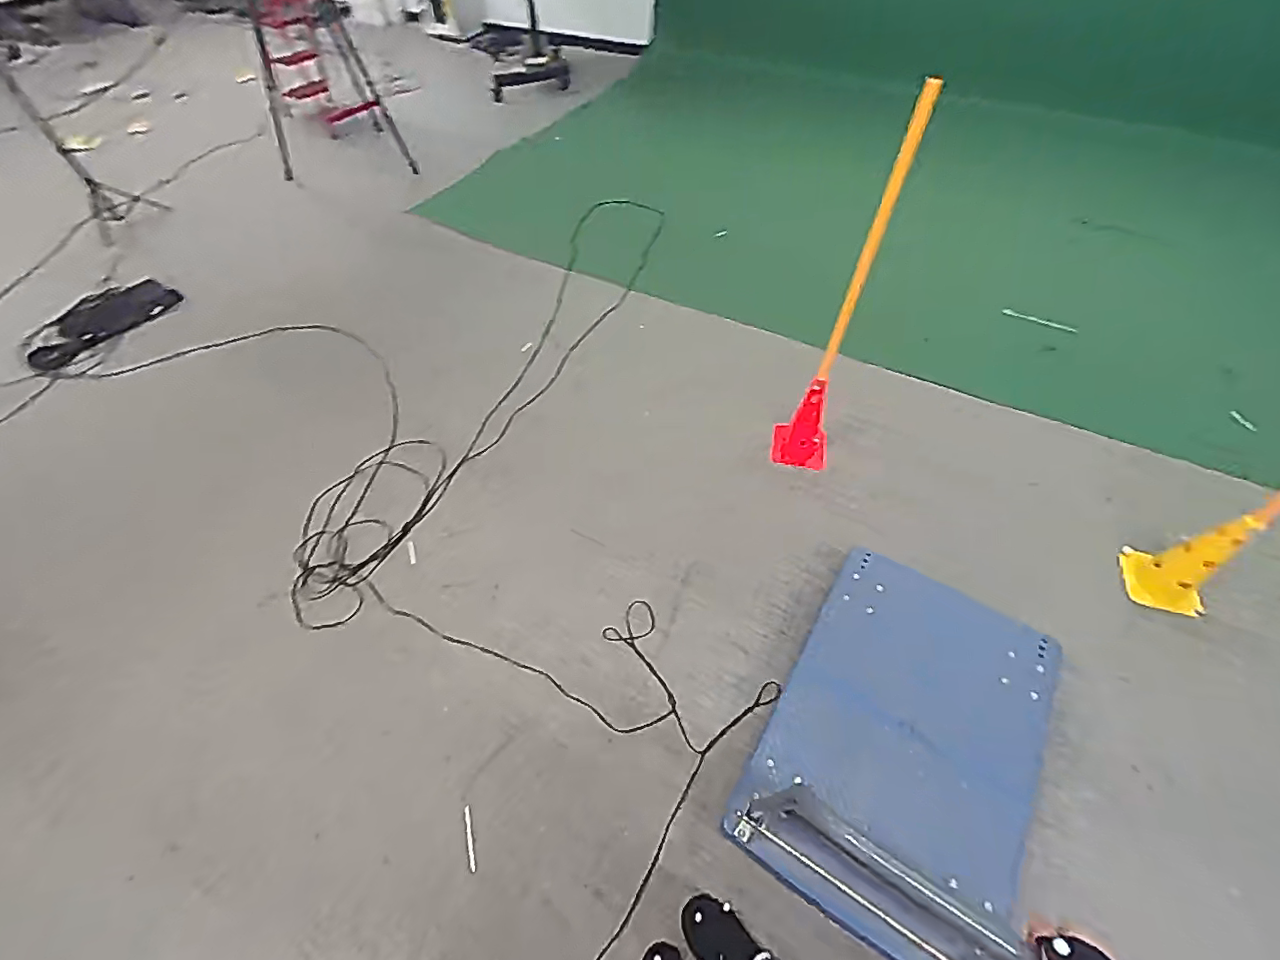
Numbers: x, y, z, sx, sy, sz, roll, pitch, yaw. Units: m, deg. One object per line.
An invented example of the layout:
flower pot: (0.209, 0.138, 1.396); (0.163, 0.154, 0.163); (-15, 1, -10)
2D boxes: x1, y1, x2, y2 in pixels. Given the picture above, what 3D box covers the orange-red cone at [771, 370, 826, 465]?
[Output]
orange-red cone: (0.602, -0.245, 1.934); (0.199, 0.360, 0.198); (10, 54, 11)
